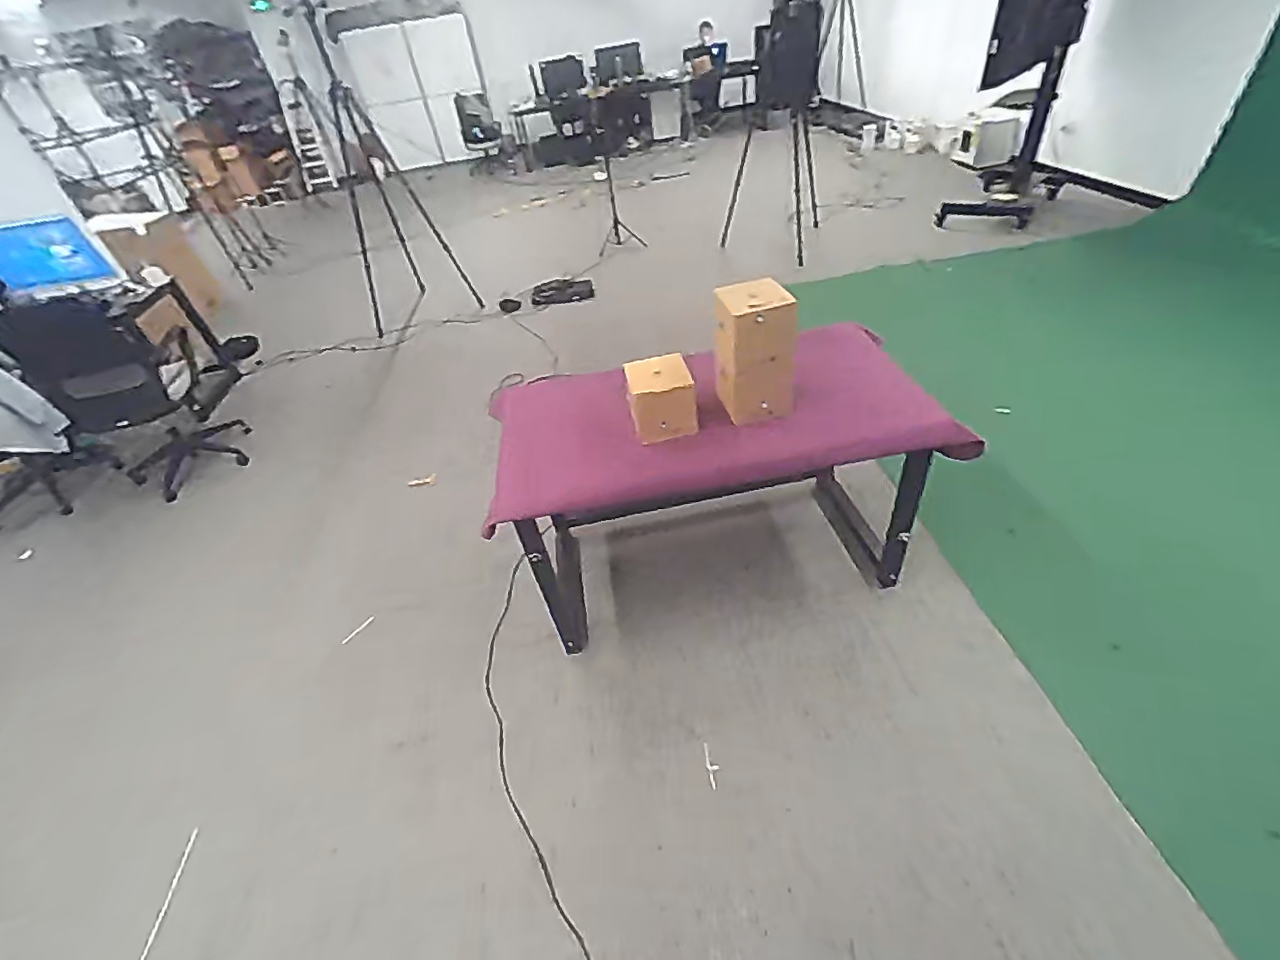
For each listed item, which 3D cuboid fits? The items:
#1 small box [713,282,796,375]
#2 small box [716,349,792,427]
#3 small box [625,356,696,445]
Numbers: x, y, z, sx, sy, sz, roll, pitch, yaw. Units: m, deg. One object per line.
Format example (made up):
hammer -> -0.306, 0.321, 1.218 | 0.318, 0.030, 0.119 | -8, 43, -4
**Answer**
small box -> 0.297, -0.399, 1.425 | 0.168, 0.176, 0.179 | -14, 40, -4
small box -> 0.317, -0.276, 1.532 | 0.168, 0.176, 0.179 | -13, 41, -3
small box -> 0.057, -0.223, 1.525 | 0.168, 0.176, 0.179 | -12, 42, -3
